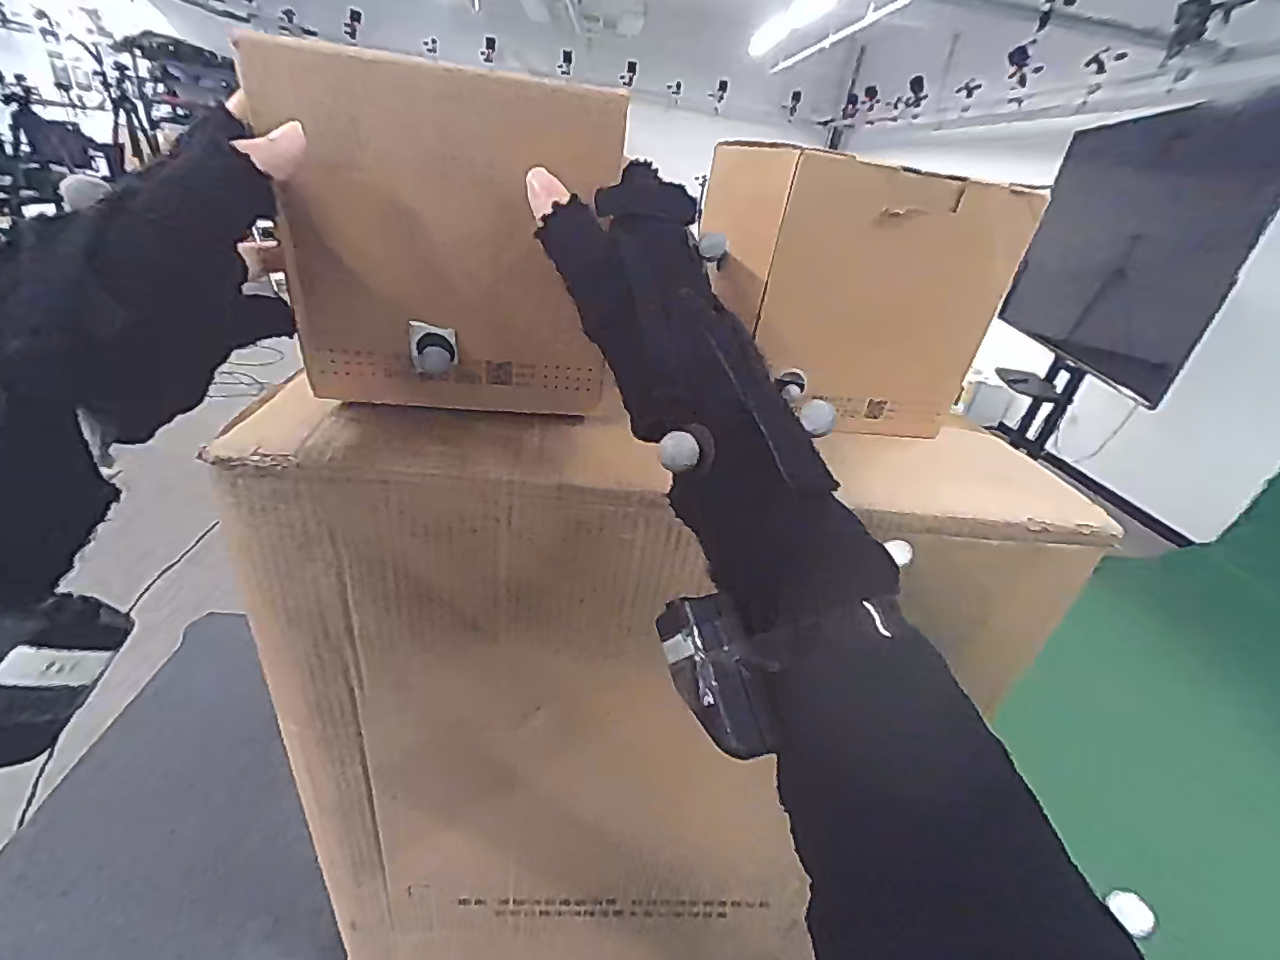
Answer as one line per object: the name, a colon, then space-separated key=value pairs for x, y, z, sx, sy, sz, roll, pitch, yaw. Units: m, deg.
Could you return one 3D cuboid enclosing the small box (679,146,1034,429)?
small box: x=0.135 y=-0.148 z=0.417 sx=0.168 sy=0.176 sz=0.179 roll=1 pitch=31 yaw=-12
